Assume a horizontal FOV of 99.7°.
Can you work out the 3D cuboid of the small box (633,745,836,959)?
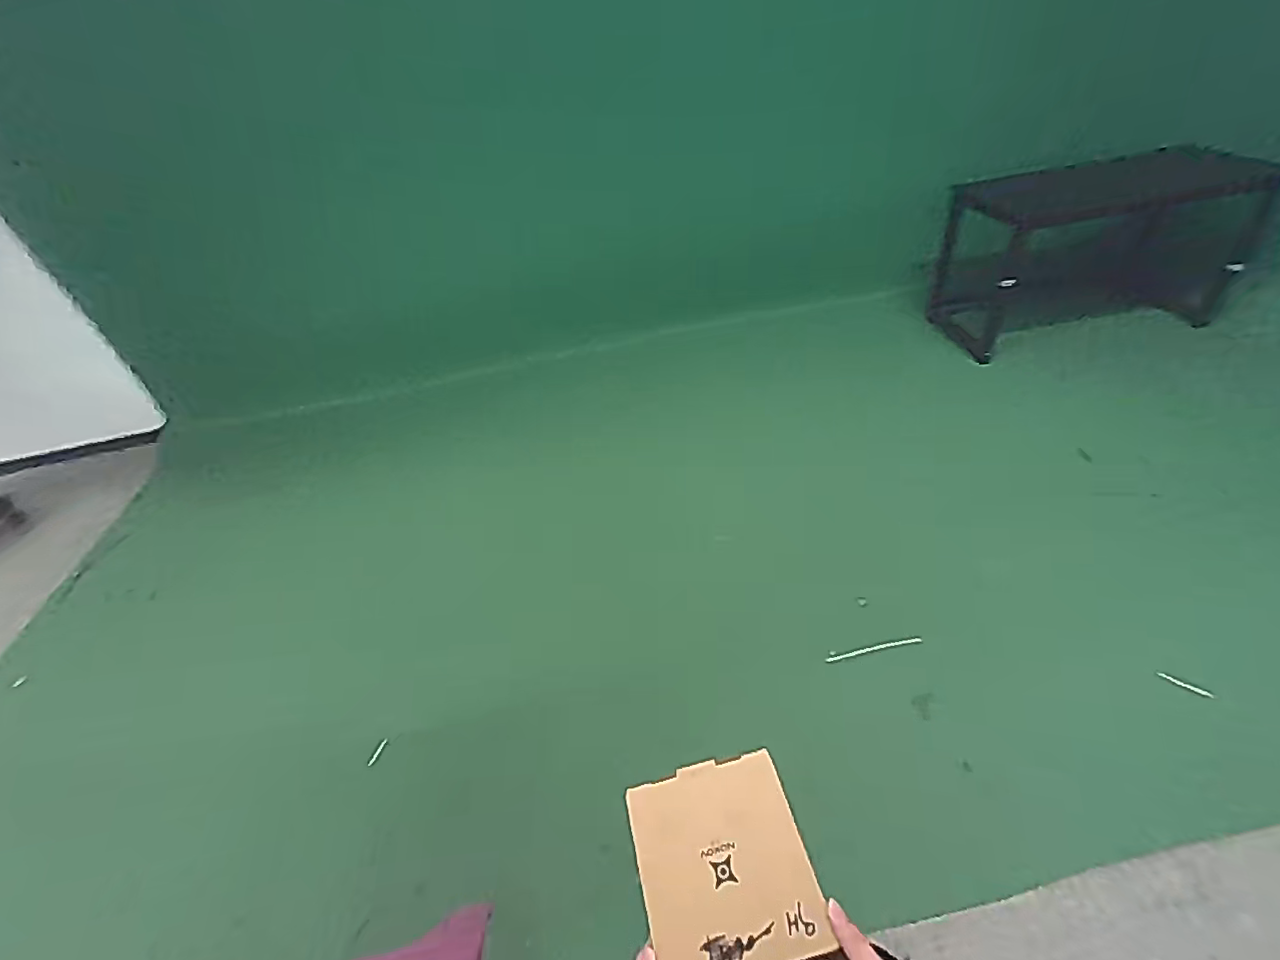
[{"bbox_3d":[0.098,0.431,0.605,0.168,0.176,0.179,-15,47,0],"label":"small box"}]
